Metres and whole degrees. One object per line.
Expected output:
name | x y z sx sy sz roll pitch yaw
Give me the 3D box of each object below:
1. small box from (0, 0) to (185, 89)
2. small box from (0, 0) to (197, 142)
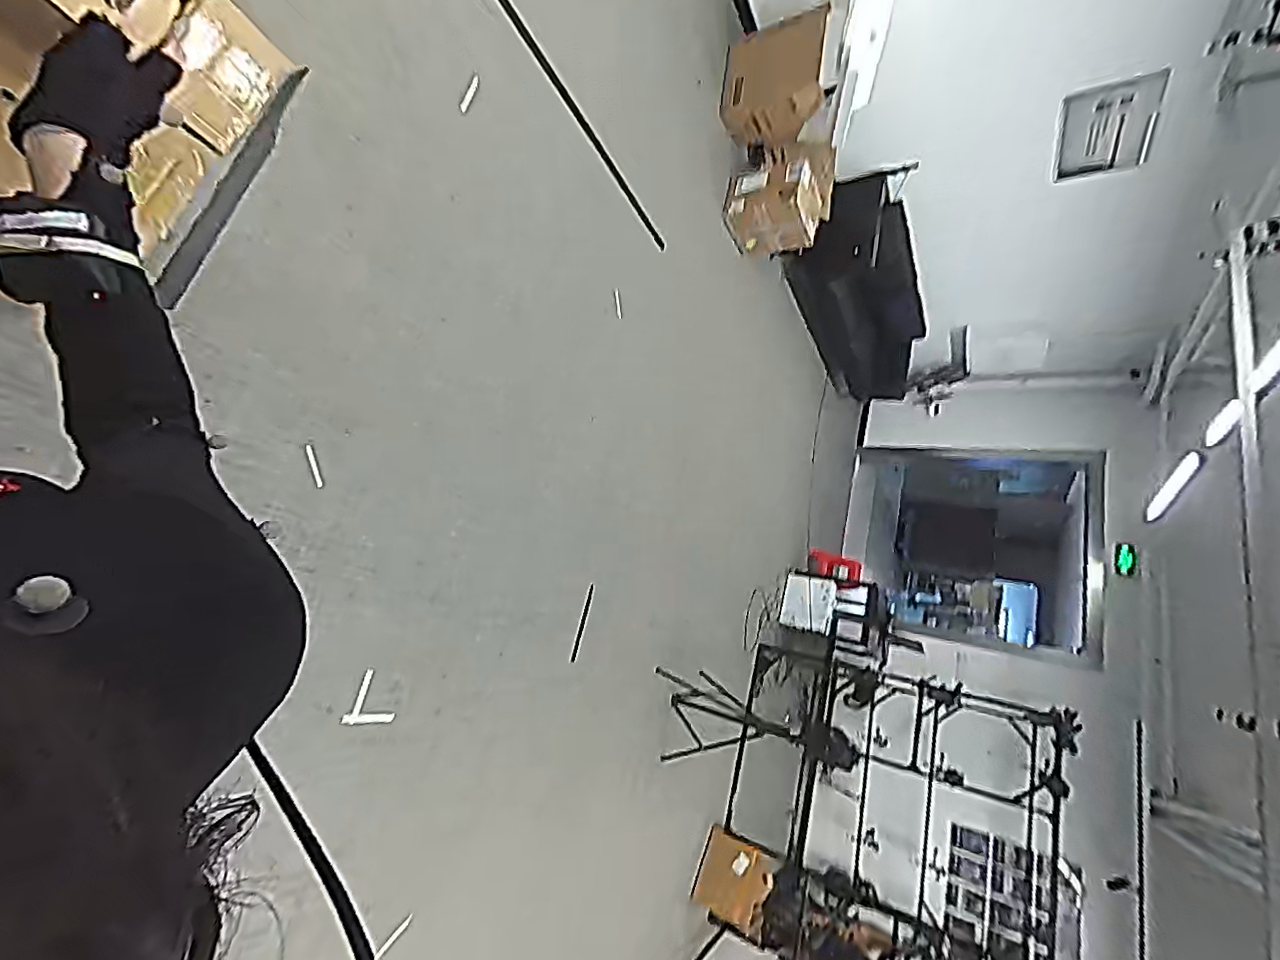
small box | -0.491 -0.454 0.431 0.179 0.176 0.168 44 62 -51
small box | -0.624 -0.490 0.563 0.179 0.176 0.168 30 69 -54
